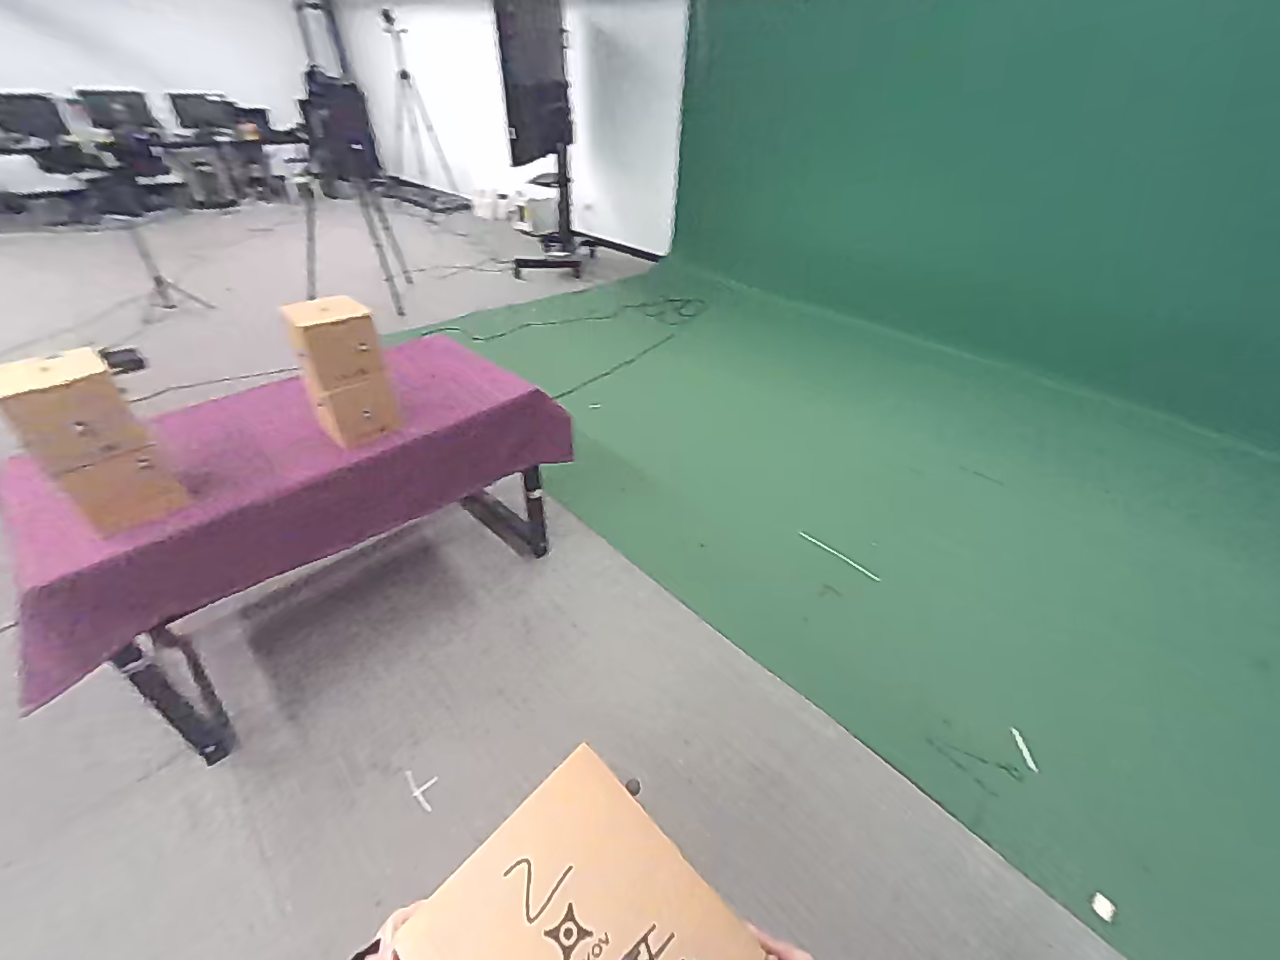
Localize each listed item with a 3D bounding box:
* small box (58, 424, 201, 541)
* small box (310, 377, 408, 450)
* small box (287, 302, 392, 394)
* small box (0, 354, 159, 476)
[{"bbox_3d":[-1.117,0.004,1.184,0.168,0.176,0.179,29,43,33],"label":"small box"},{"bbox_3d":[-0.759,-0.200,1.472,0.168,0.176,0.179,-29,45,-35],"label":"small box"},{"bbox_3d":[-0.758,-0.334,1.378,0.168,0.176,0.179,-27,44,-34],"label":"small box"},{"bbox_3d":[-1.120,-0.129,1.087,0.179,0.176,0.168,29,43,32],"label":"small box"}]
